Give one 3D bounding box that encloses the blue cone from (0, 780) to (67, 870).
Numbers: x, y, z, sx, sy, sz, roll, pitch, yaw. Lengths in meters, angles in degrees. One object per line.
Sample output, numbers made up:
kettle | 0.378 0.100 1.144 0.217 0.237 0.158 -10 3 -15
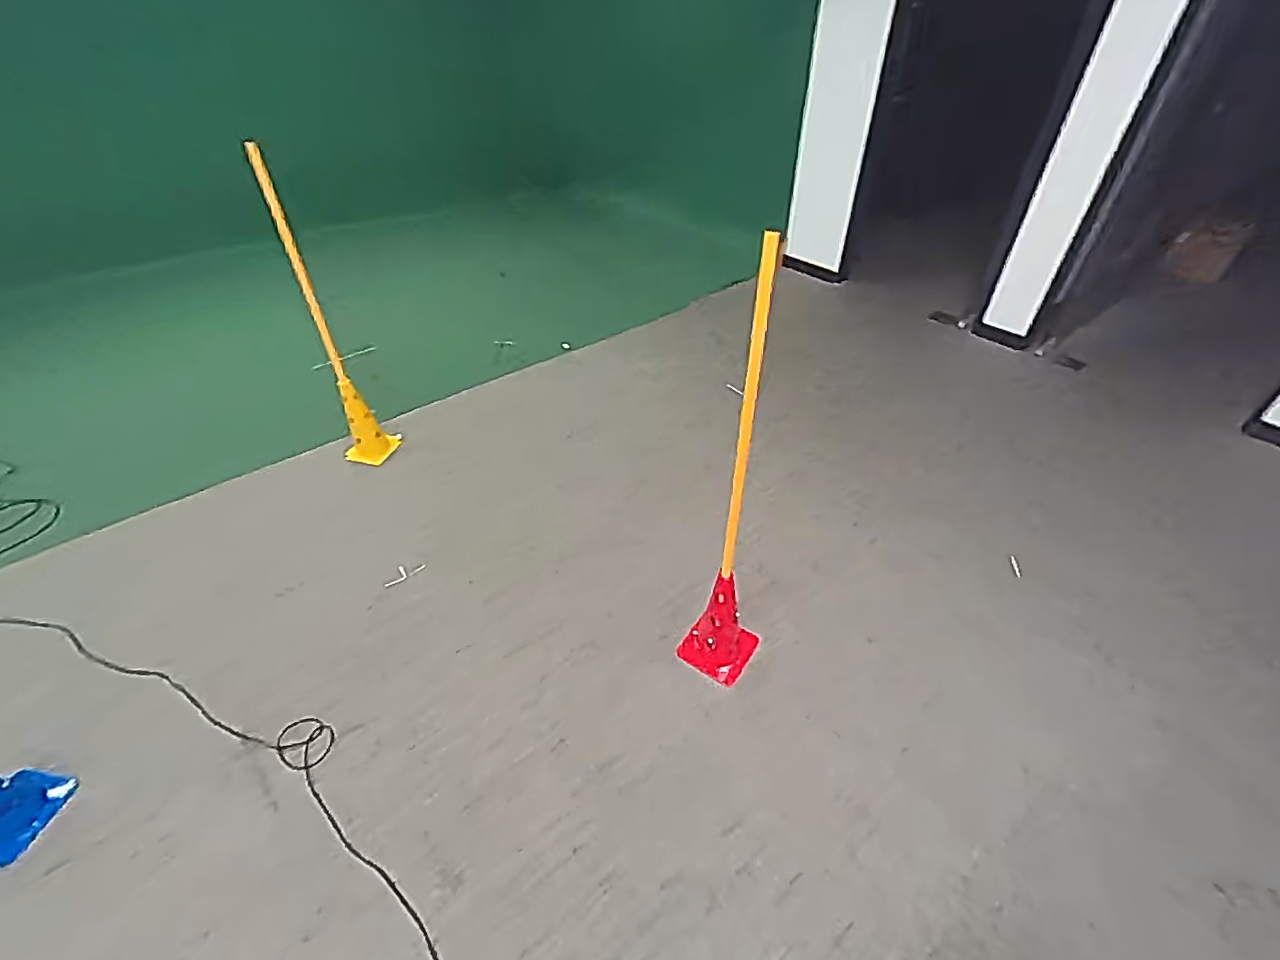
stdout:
blue cone | -1.593 0.751 1.250 0.192 0.380 0.193 4 45 7
